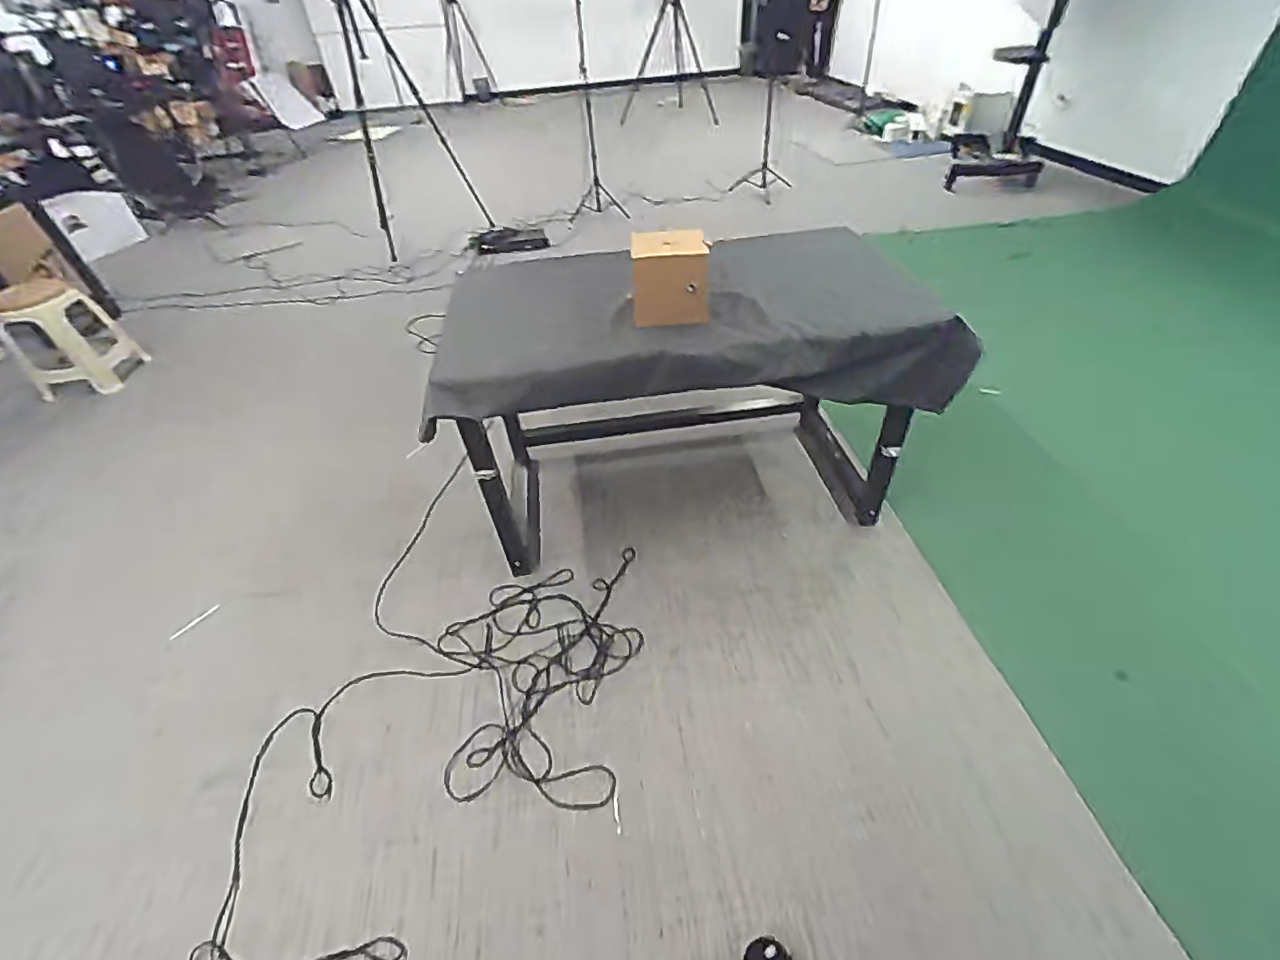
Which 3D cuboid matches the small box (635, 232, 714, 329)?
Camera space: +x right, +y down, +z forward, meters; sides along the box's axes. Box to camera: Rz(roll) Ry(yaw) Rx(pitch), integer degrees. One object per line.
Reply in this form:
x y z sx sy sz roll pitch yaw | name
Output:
0.079 -0.476 1.296 0.179 0.176 0.168 -3 41 2 | small box
